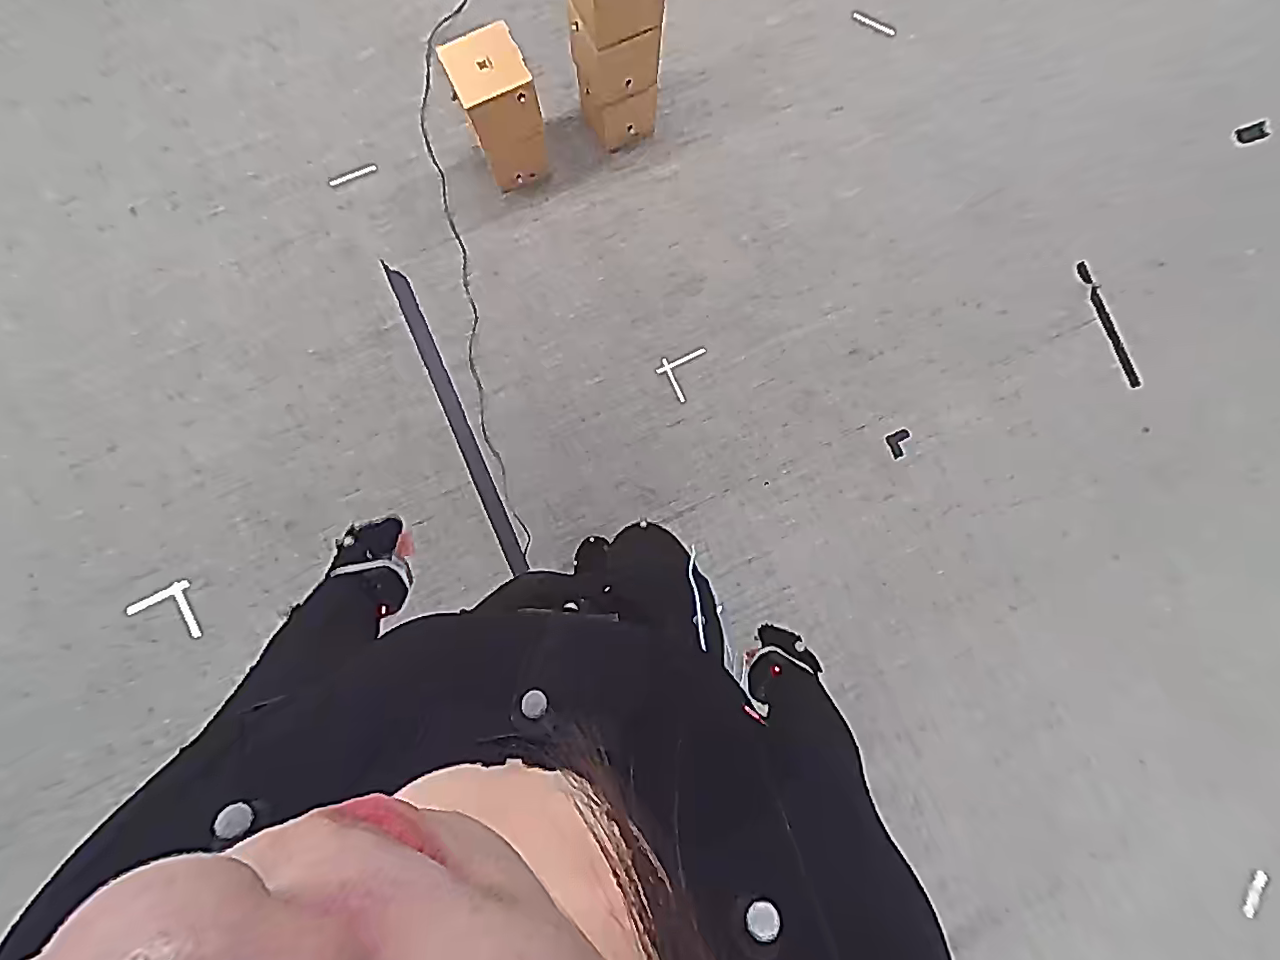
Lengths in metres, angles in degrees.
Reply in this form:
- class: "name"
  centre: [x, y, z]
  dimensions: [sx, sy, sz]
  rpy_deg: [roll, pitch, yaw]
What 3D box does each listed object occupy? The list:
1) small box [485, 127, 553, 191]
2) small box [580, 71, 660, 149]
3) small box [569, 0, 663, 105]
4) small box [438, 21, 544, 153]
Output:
- class: "small box"
  centre: [-0.351, -0.939, 1.480]
  dimensions: [0.168, 0.176, 0.179]
  rpy_deg: [-22, 88, -2]
- class: "small box"
  centre: [-0.060, -1.072, 1.496]
  dimensions: [0.168, 0.176, 0.179]
  rpy_deg: [-26, 88, -3]
- class: "small box"
  centre: [-0.061, -1.082, 1.332]
  dimensions: [0.179, 0.176, 0.168]
  rpy_deg: [-26, 87, -4]
- class: "small box"
  centre: [-0.354, -0.945, 1.318]
  dimensions: [0.179, 0.176, 0.168]
  rpy_deg: [-26, 87, -3]
